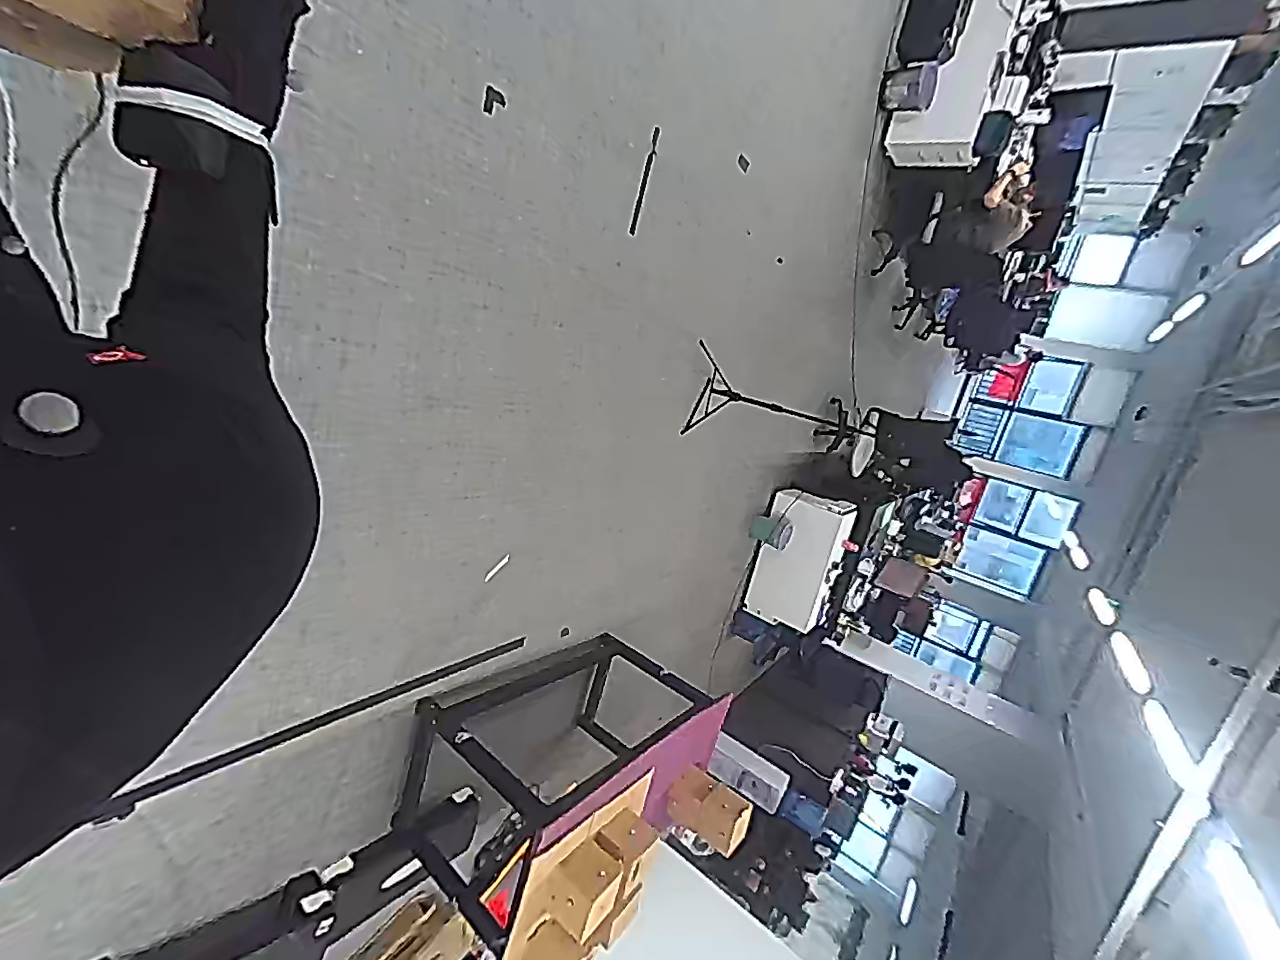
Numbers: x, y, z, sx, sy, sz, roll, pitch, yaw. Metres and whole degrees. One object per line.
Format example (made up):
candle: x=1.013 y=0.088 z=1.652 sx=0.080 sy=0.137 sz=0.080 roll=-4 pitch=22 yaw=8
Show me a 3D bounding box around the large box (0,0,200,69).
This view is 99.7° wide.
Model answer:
large box: x=-0.492 y=-0.468 z=0.242 sx=0.408 sy=0.320 sz=0.320 roll=-5 pitch=118 yaw=-59
